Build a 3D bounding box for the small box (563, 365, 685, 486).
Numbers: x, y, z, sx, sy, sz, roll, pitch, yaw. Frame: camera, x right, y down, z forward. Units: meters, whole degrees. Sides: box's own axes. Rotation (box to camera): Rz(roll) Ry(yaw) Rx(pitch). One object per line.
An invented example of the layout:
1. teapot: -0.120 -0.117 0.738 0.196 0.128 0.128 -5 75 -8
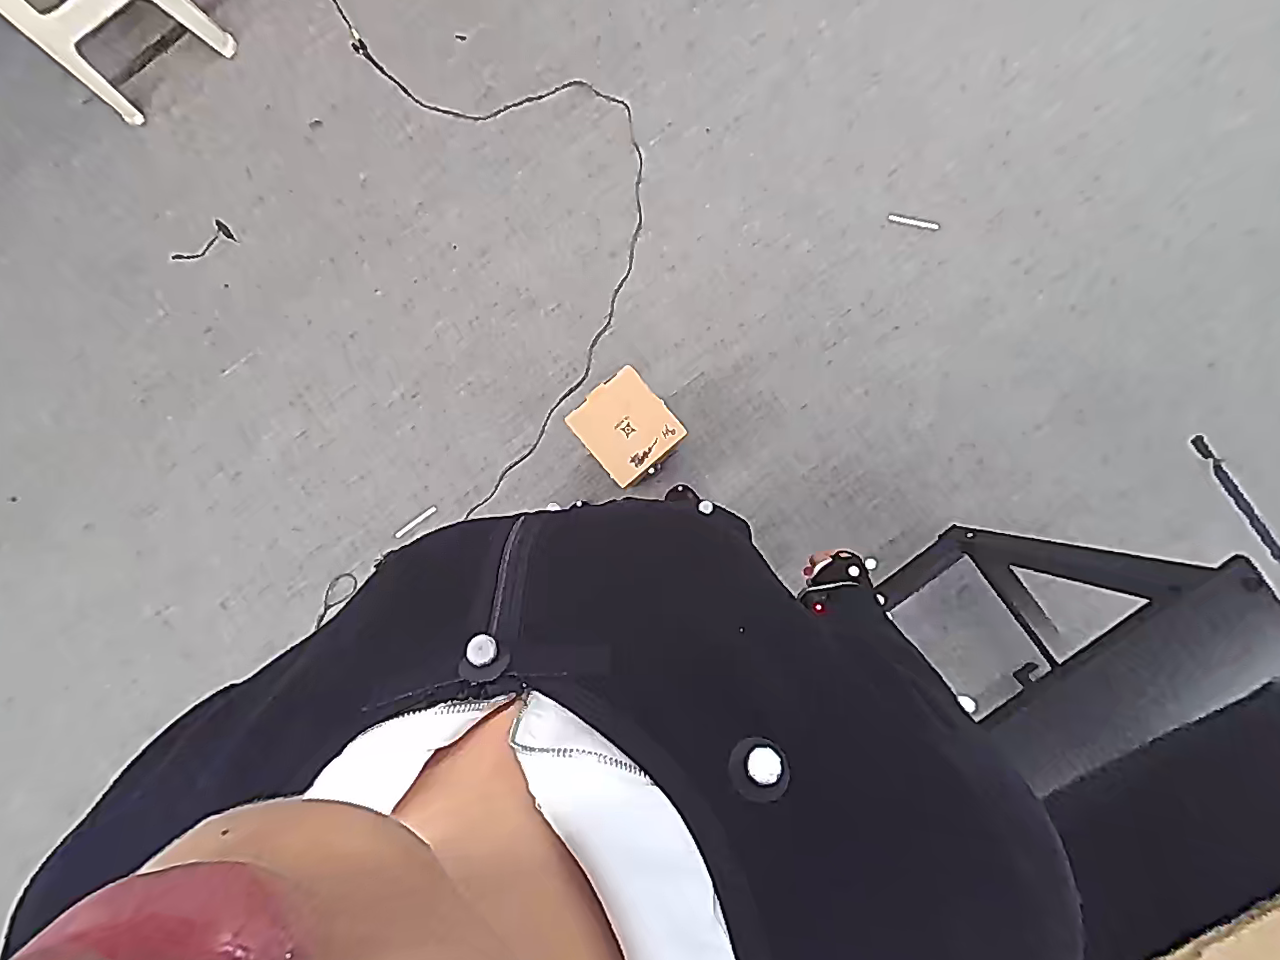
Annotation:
1. small box: -0.029 -0.101 1.096 0.168 0.176 0.179 -41 89 1
